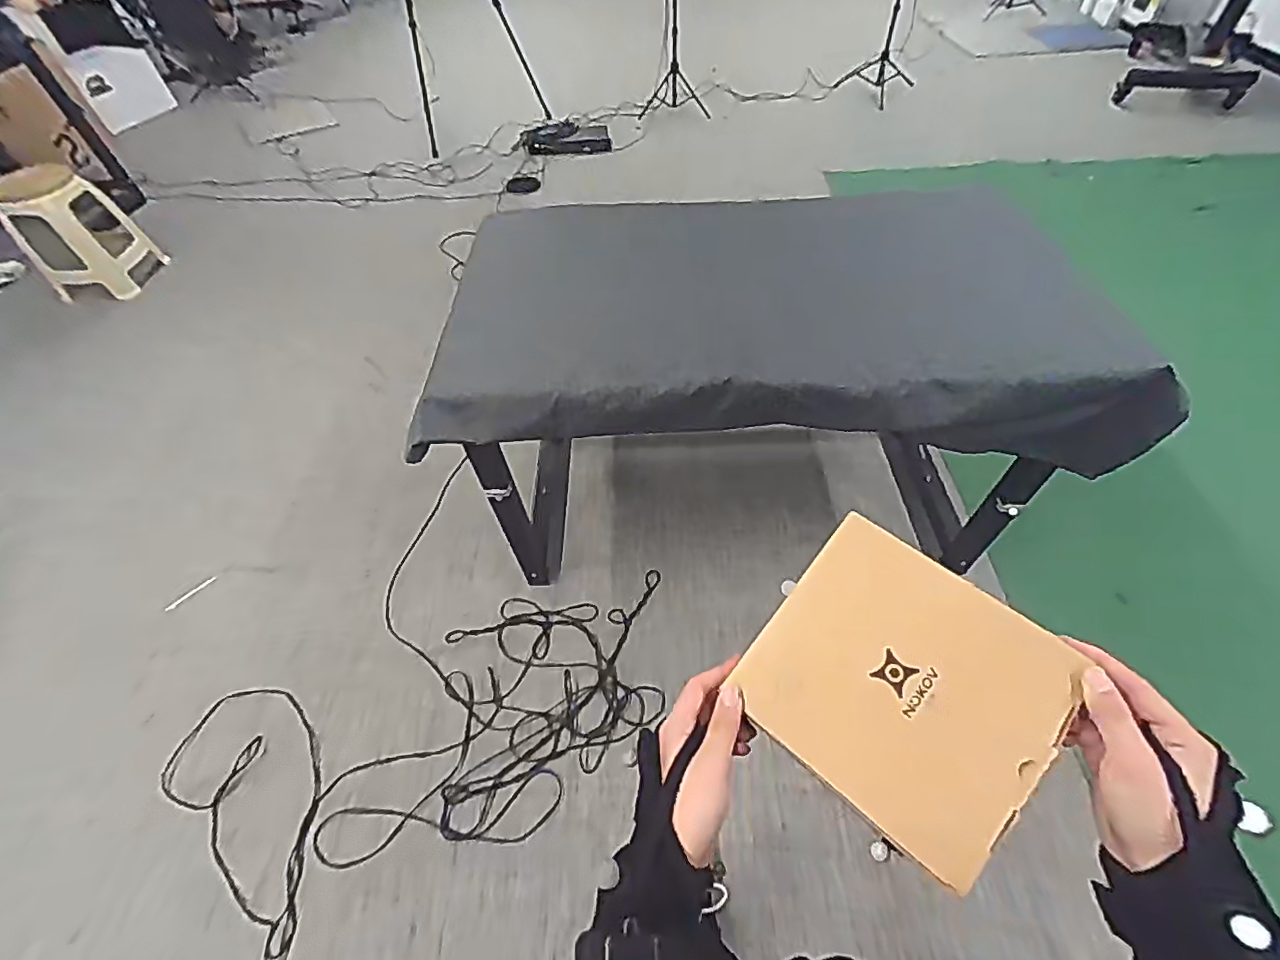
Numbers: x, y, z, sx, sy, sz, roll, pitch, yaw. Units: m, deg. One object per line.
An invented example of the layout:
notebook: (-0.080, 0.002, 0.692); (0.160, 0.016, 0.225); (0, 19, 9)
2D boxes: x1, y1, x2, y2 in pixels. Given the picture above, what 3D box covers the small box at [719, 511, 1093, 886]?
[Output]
small box: (0.181, 0.160, 0.425); (0.179, 0.176, 0.168); (36, 77, 23)
